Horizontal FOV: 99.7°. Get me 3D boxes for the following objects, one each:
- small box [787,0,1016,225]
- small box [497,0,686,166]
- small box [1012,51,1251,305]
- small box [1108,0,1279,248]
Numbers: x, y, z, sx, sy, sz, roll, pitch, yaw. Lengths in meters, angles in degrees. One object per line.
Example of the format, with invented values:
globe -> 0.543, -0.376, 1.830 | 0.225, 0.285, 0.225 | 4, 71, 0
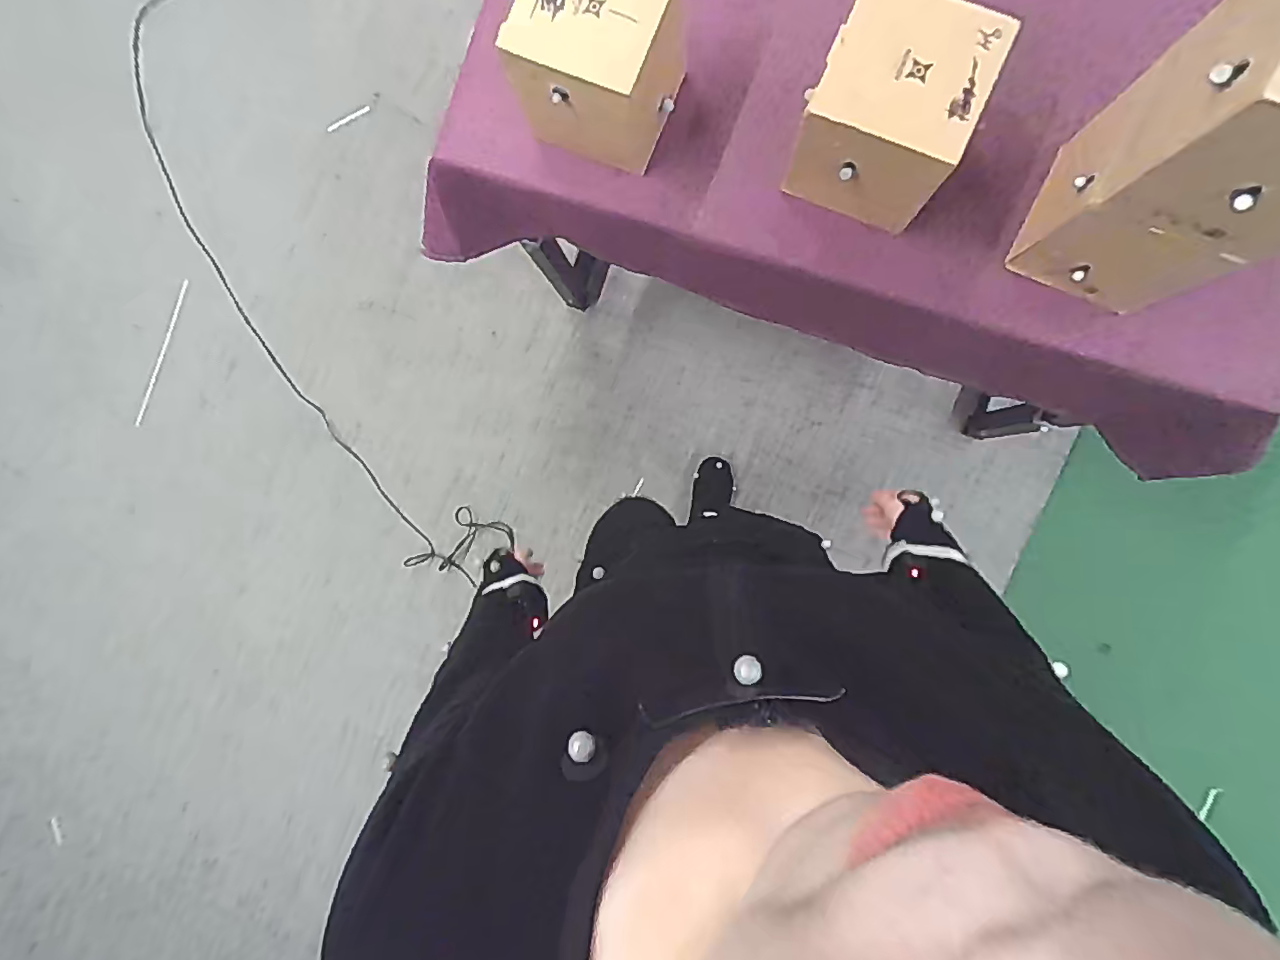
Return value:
small box -> 0.299, -0.447, 0.664 | 0.179, 0.176, 0.168 | 24, 93, 6
small box -> -0.051, -0.548, 0.701 | 0.179, 0.176, 0.168 | 23, 92, 5
small box -> 0.588, -0.336, 0.635 | 0.168, 0.176, 0.179 | 25, 93, 6
small box -> 0.571, -0.335, 0.471 | 0.168, 0.176, 0.179 | 24, 93, 5
